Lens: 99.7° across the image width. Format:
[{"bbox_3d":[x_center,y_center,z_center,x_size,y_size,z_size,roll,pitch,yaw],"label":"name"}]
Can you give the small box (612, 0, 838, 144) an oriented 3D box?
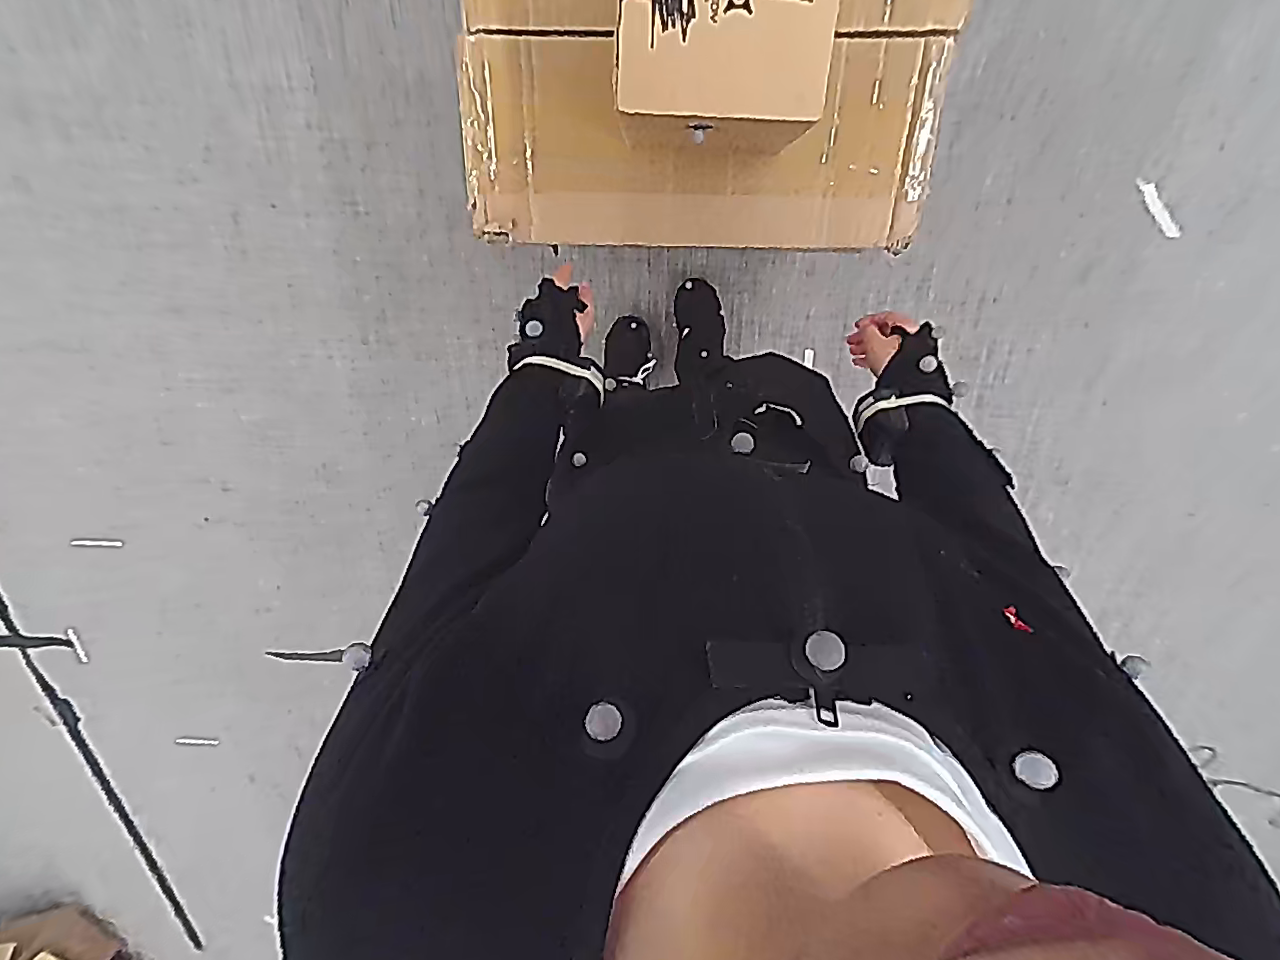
[{"bbox_3d":[0.071,-0.416,0.492,0.179,0.176,0.168,3,114,1],"label":"small box"}]
